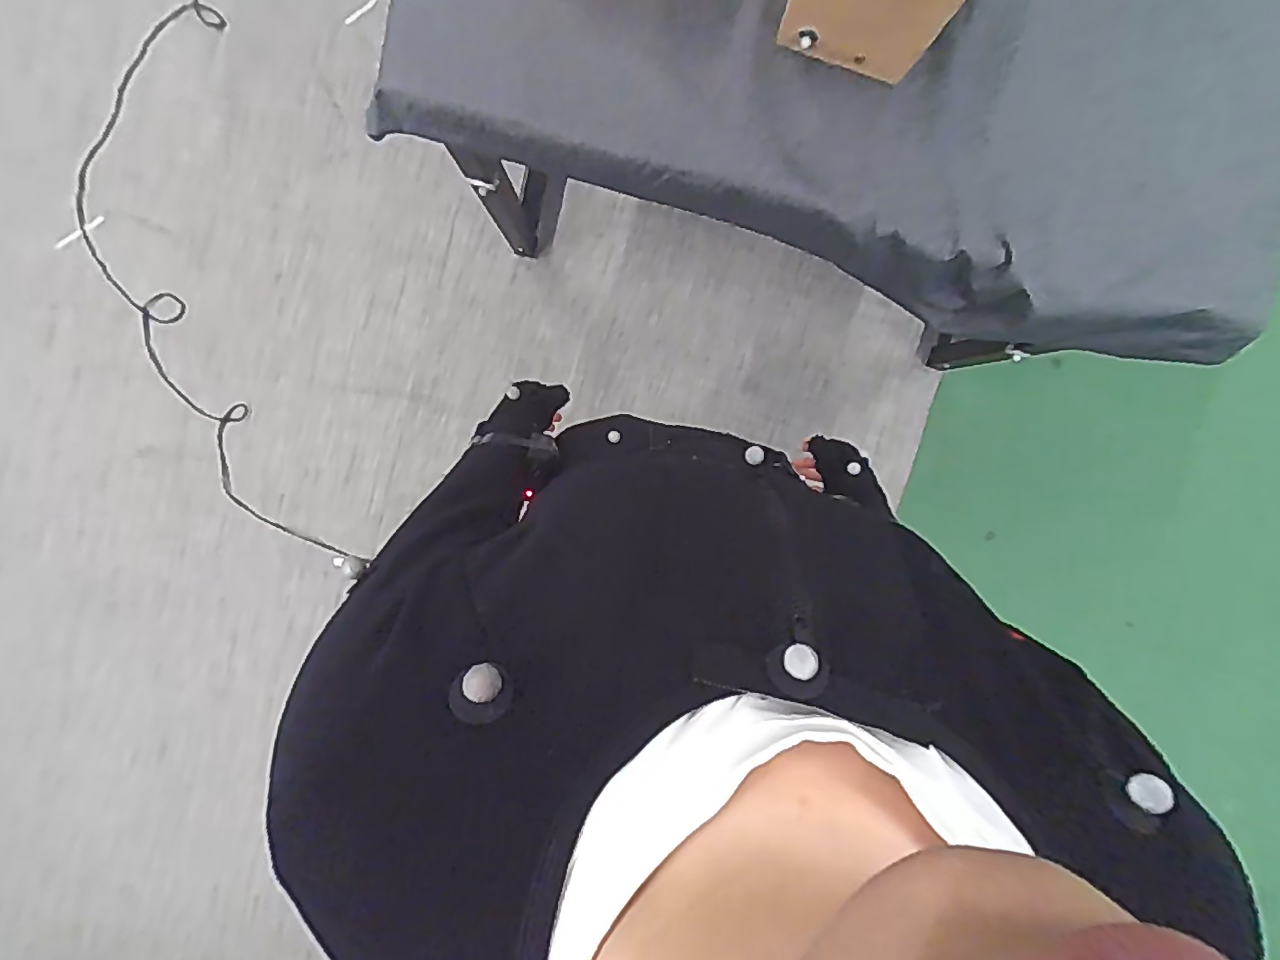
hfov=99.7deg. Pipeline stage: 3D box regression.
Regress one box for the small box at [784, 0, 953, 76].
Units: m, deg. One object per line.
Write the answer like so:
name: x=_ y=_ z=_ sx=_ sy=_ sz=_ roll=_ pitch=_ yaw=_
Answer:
small box: x=0.275 y=-0.602 z=0.596 sx=0.168 sy=0.176 sz=0.179 roll=16 pitch=94 yaw=-3
